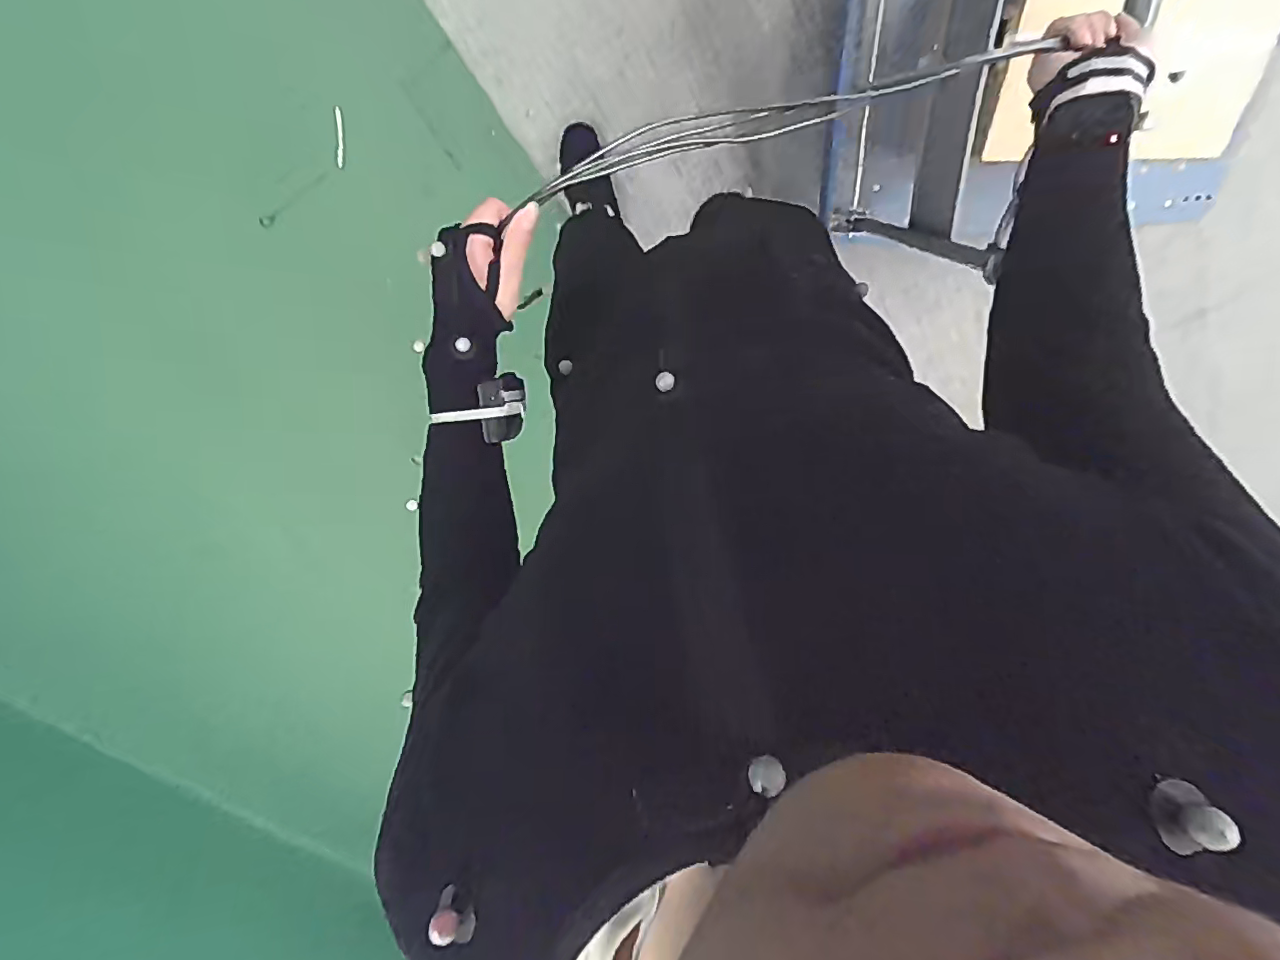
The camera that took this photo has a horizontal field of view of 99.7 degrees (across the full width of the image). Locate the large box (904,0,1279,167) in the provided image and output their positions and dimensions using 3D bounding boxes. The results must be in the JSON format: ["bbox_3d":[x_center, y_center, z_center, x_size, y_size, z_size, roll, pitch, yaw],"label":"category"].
[{"bbox_3d":[0.749,-0.732,0.941,0.408,0.320,0.320,-1,122,-2],"label":"large box"}]
